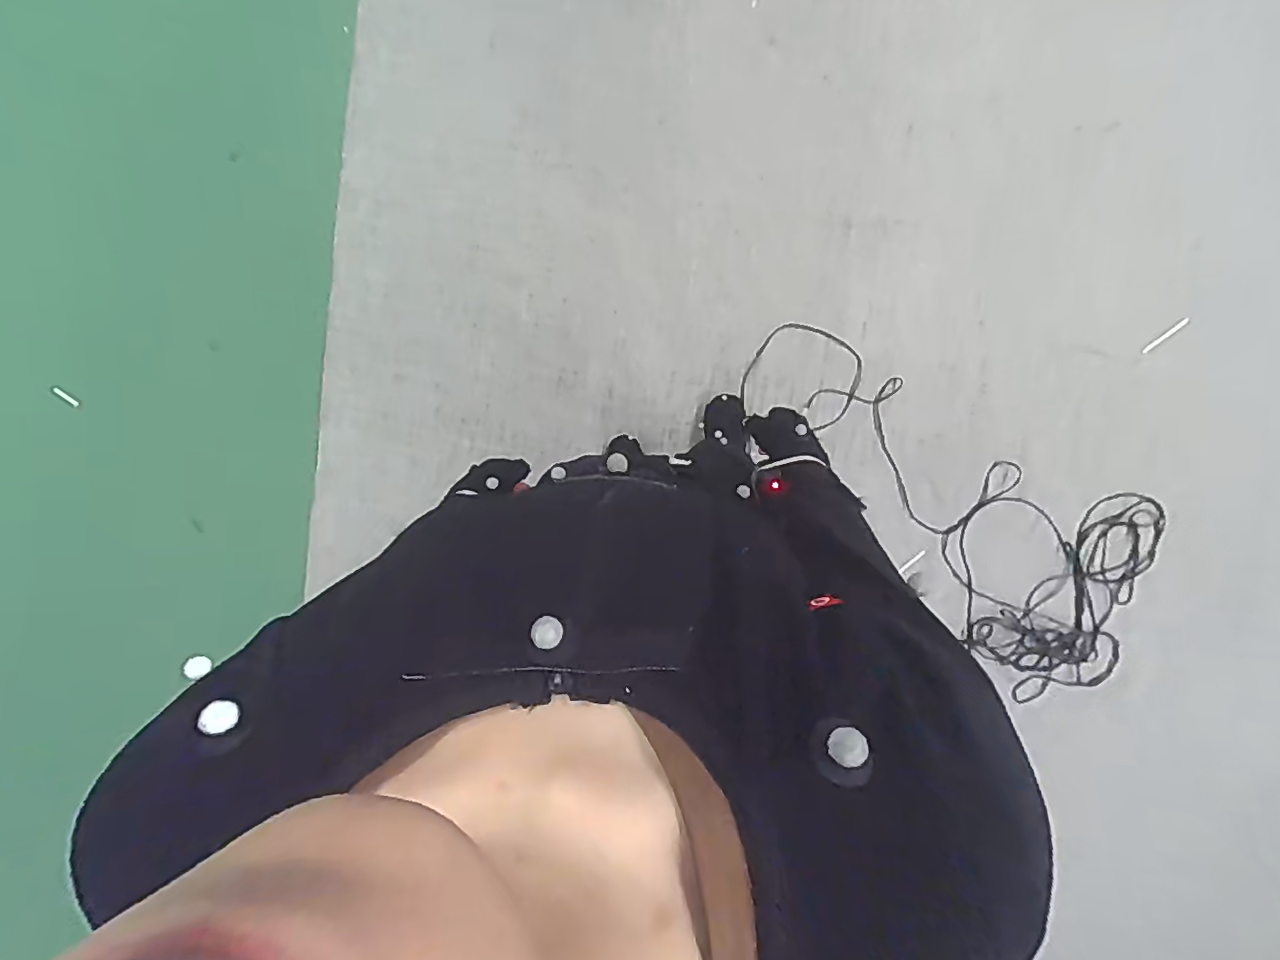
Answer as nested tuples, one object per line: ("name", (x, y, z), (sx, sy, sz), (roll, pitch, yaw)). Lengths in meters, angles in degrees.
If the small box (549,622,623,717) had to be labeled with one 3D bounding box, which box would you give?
("small box", (-0.137, 0.495, 1.435), (0.168, 0.176, 0.179), (8, 96, 0))
